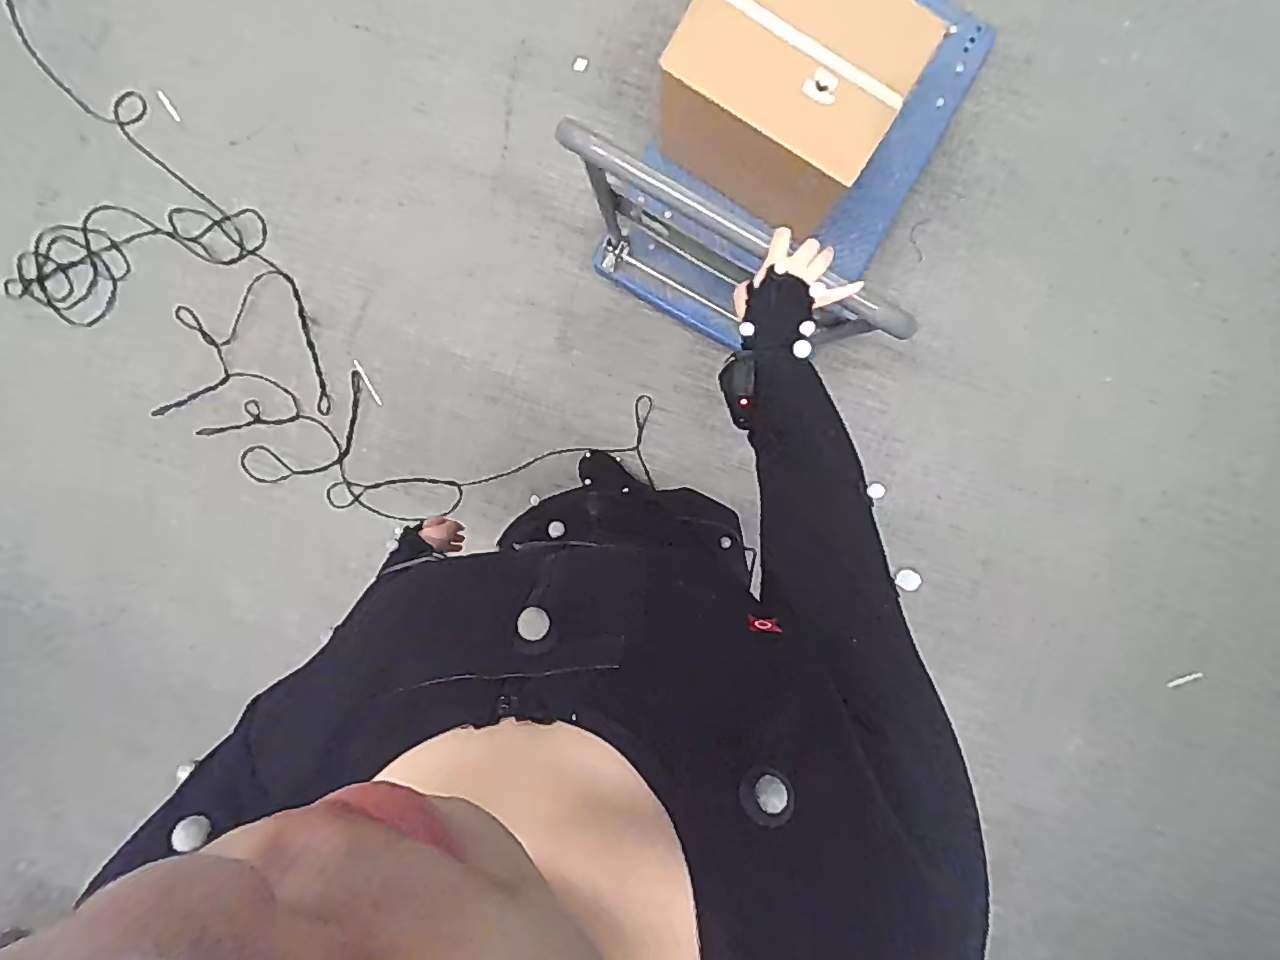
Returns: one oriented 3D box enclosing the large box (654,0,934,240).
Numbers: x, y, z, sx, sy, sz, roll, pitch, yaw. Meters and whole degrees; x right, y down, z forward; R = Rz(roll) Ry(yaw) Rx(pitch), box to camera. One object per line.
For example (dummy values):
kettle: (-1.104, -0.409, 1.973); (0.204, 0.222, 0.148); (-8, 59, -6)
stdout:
large box: (0.274, -0.774, 1.104); (0.408, 0.320, 0.320); (31, 96, -3)
